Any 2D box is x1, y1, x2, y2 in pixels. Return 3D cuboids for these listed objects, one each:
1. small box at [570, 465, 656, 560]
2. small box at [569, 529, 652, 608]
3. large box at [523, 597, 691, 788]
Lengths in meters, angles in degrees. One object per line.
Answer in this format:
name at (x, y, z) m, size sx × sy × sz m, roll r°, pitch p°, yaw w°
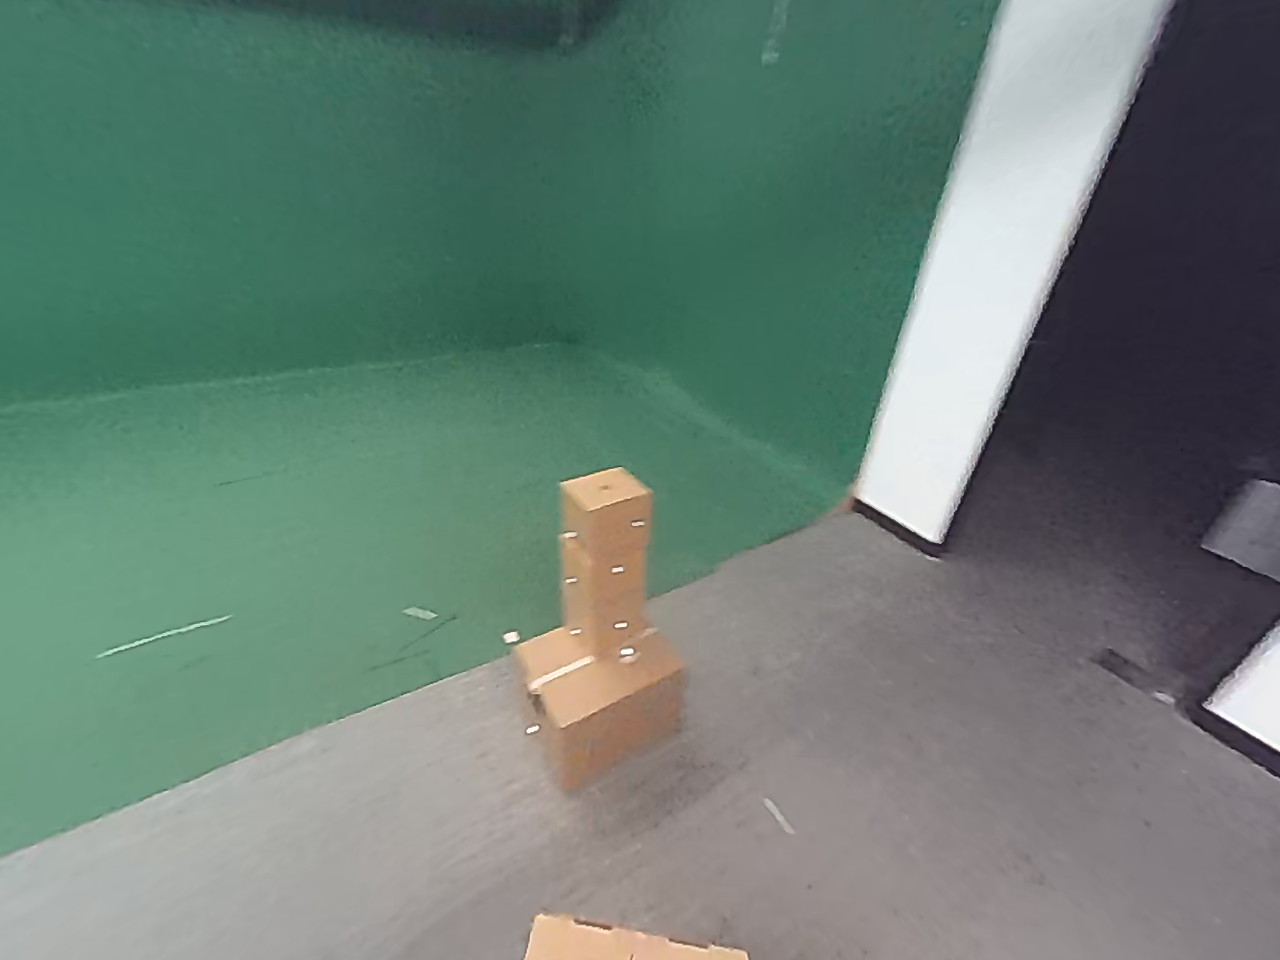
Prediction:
small box at (-0.073, 0.084, 1.429) m, size 0.179 × 0.176 × 0.168 m, roll -16°, pitch 33°, yaw -26°
small box at (-0.085, 0.225, 1.510) m, size 0.179 × 0.176 × 0.168 m, roll -17°, pitch 34°, yaw -28°
large box at (-0.105, 0.625, 1.636) m, size 0.408 × 0.320 × 0.320 m, roll -15°, pitch 36°, yaw -29°
